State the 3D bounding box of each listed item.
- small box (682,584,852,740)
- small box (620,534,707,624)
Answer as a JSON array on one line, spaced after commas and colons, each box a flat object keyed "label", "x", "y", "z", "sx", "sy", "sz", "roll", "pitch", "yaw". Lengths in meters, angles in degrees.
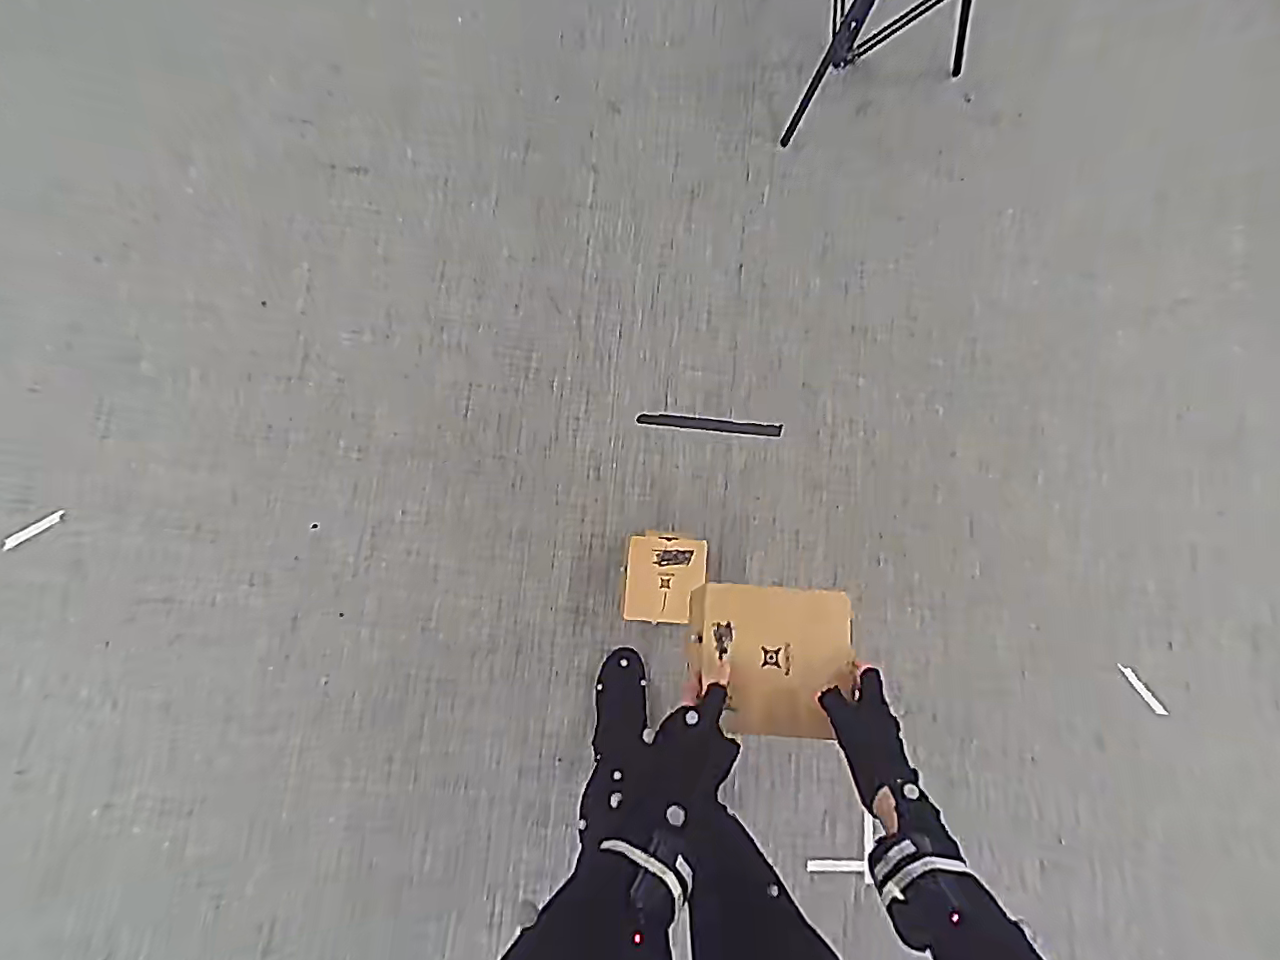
[{"label": "small box", "x": 0.152, "y": 0.227, "z": 0.697, "sx": 0.179, "sy": 0.176, "sz": 0.168, "roll": 3, "pitch": 74, "yaw": 0}, {"label": "small box", "x": 0.045, "y": 0.218, "z": 1.195, "sx": 0.168, "sy": 0.176, "sz": 0.179, "roll": 5, "pitch": 82, "yaw": -4}]
